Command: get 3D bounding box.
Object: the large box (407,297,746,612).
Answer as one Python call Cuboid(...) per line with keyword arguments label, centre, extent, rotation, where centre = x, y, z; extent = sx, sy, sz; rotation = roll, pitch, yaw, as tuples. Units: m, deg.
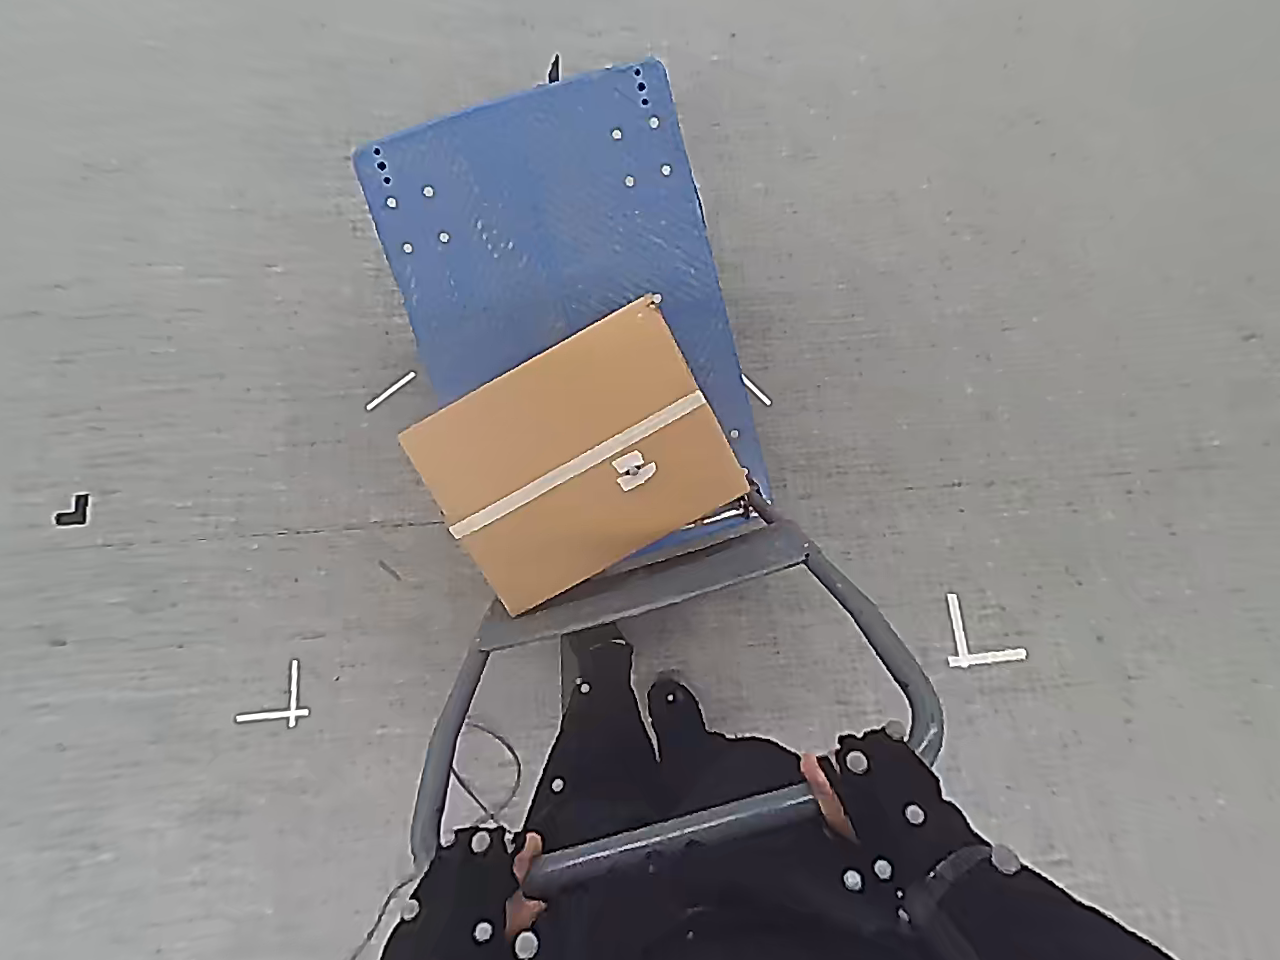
Cuboid(label="large box", centre=(-0.095, -0.049, 0.920), extent=(0.408, 0.320, 0.320), rotation=(-29, 101, 2))
